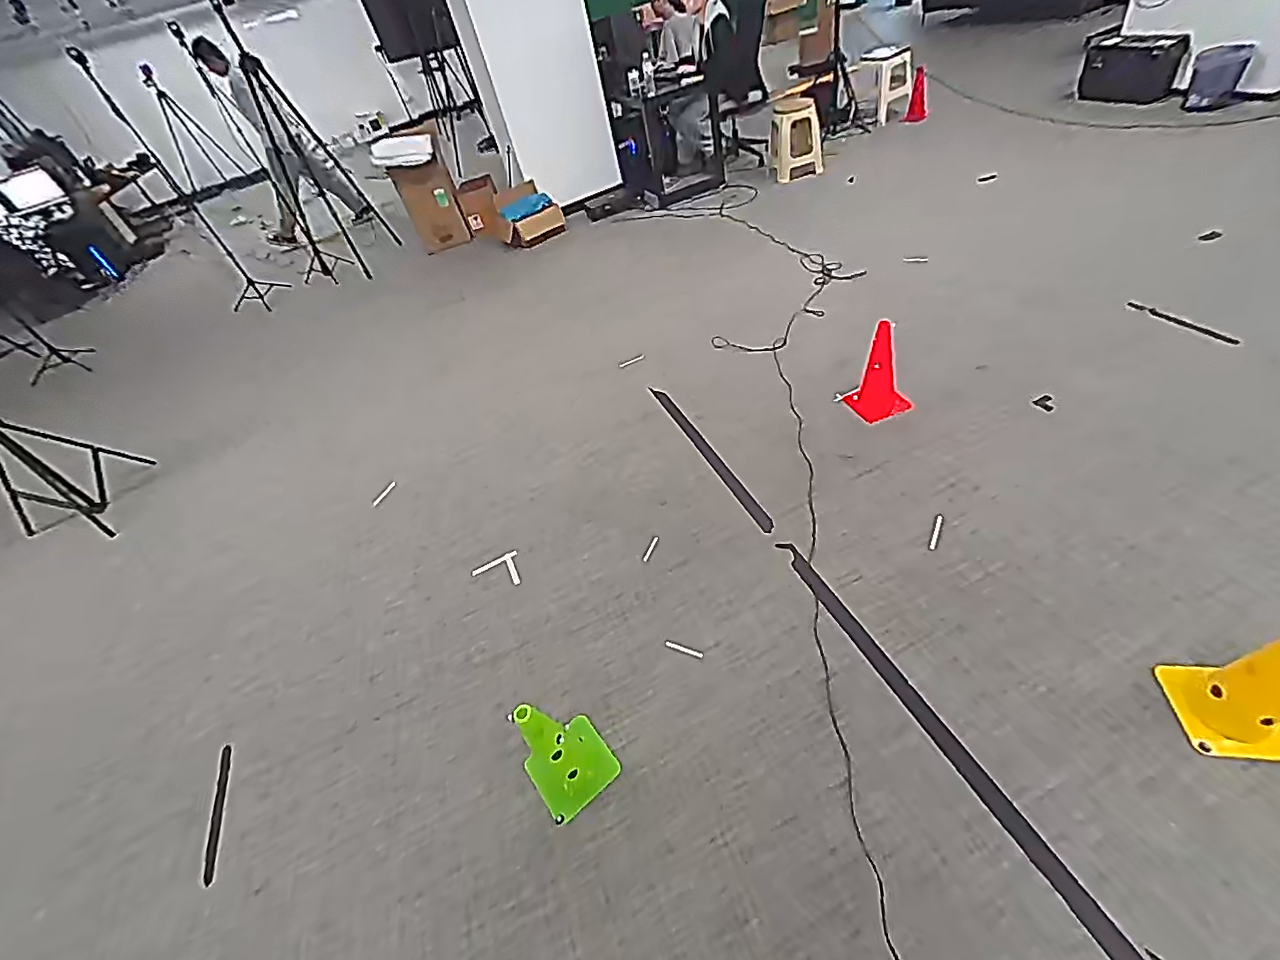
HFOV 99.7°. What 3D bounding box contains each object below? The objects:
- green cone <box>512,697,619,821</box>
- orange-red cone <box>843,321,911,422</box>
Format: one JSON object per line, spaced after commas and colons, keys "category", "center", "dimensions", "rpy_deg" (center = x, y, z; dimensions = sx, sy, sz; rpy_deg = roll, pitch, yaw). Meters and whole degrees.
{"category": "green cone", "center": [-0.215, 0.618, 1.291], "dimensions": [0.200, 0.368, 0.202], "rpy_deg": [-36, 45, -20]}
{"category": "orange-red cone", "center": [0.898, -0.424, 2.016], "dimensions": [0.198, 0.360, 0.199], "rpy_deg": [-20, 44, -2]}
